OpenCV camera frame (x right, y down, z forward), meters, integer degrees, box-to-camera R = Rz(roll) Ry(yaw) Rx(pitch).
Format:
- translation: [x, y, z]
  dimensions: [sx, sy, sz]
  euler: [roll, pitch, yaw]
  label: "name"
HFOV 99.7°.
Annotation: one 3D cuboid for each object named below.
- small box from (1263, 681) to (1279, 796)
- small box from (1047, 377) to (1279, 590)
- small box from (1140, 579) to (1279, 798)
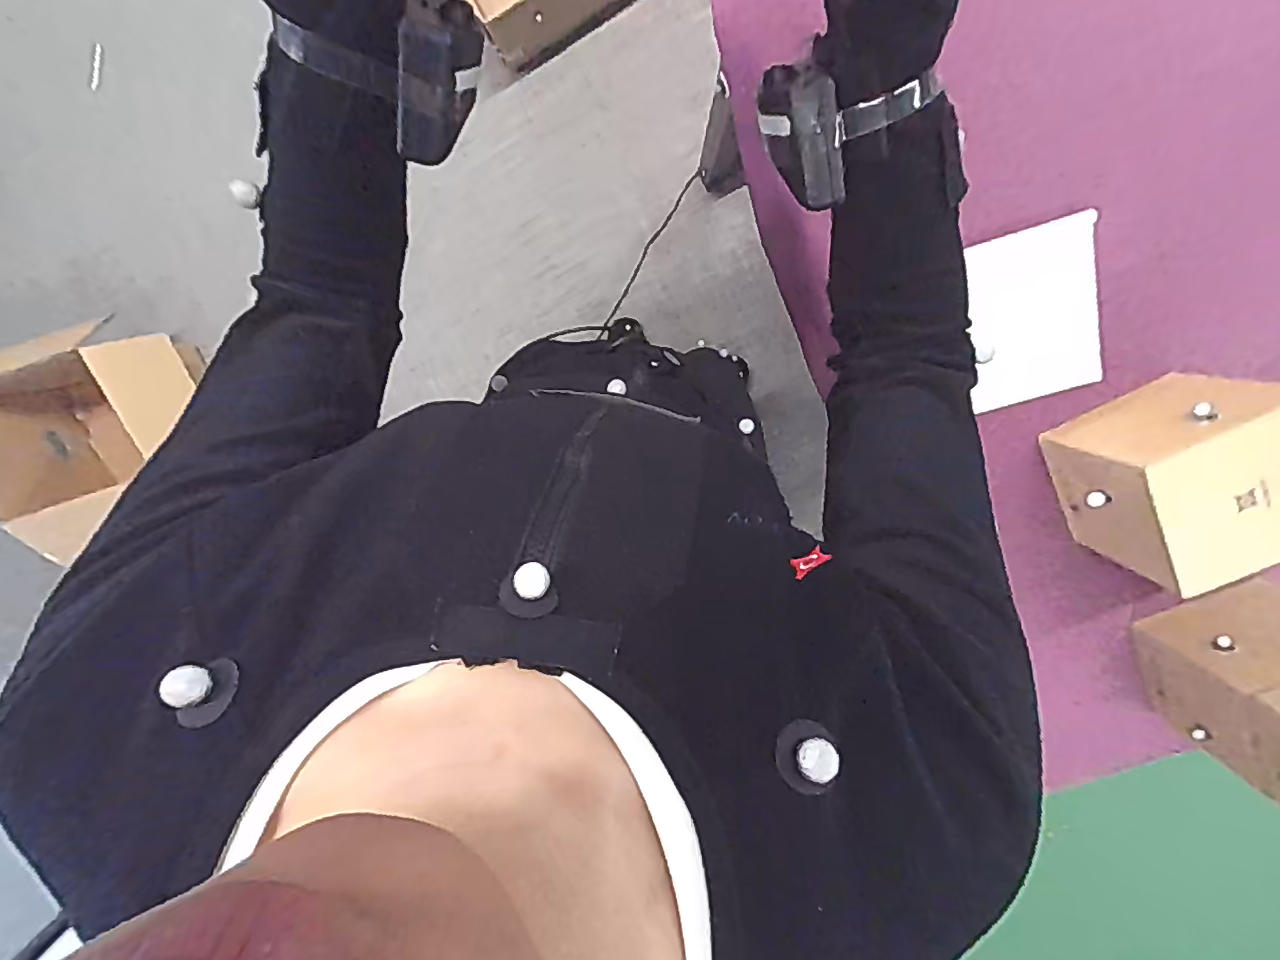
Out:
- translation: [0.787, 0.293, 0.532]
  dimensions: [0.179, 0.176, 0.168]
  euler: [-24, 104, 9]
  label: "small box"
- translation: [0.620, -0.006, 0.628]
  dimensions: [0.179, 0.176, 0.168]
  euler: [-27, 103, 8]
  label: "small box"
- translation: [0.796, 0.255, 0.691]
  dimensions: [0.179, 0.176, 0.168]
  euler: [-24, 104, 8]
  label: "small box"
